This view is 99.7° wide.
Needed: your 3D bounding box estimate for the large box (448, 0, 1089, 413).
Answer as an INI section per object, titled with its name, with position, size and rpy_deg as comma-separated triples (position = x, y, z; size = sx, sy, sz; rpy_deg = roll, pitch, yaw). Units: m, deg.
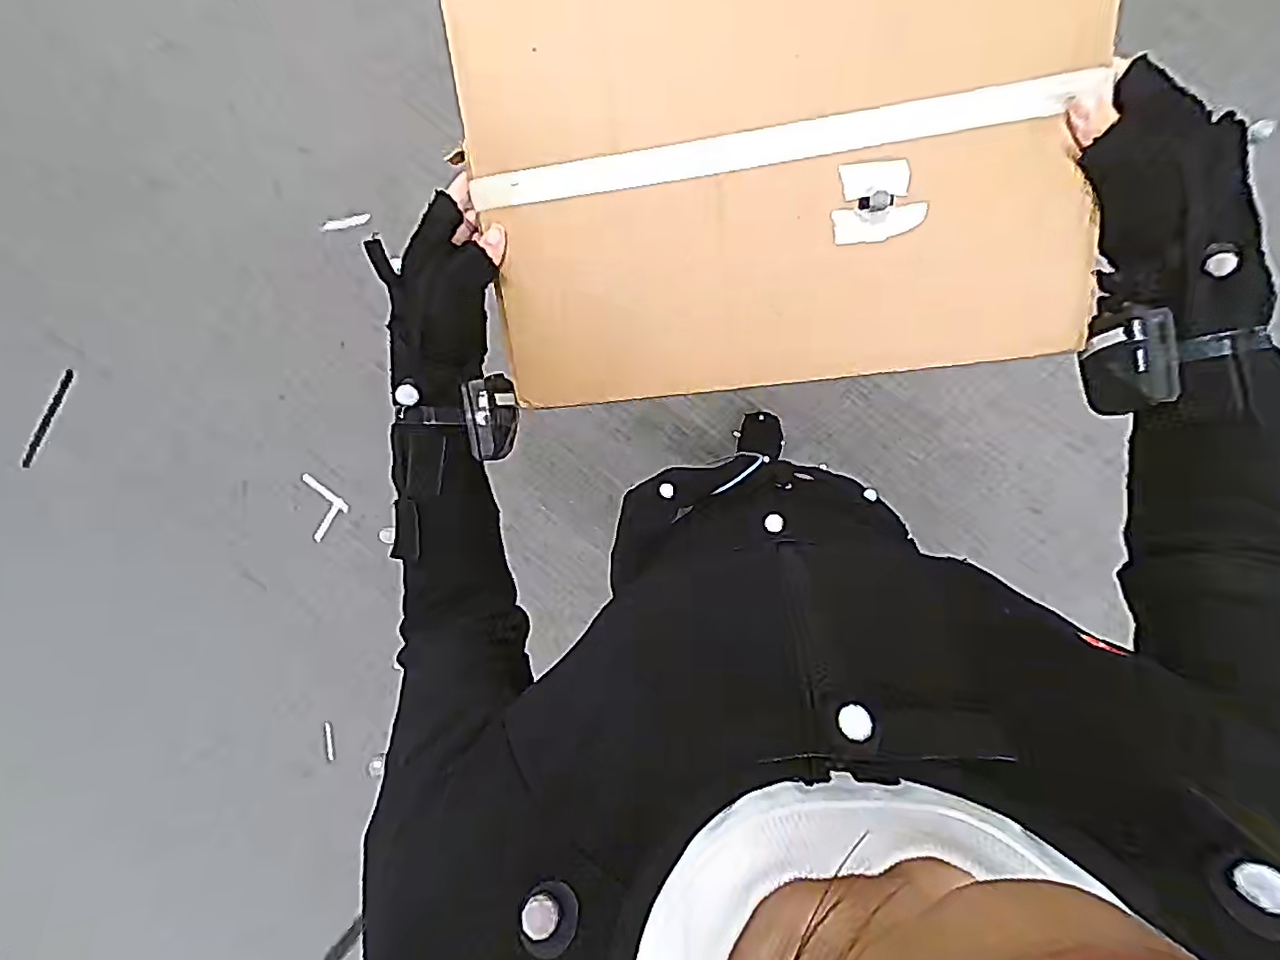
[large box]
position = 0.098, -0.264, 0.513
size = 0.408, 0.320, 0.320
rpy_deg = -6, 106, 7
